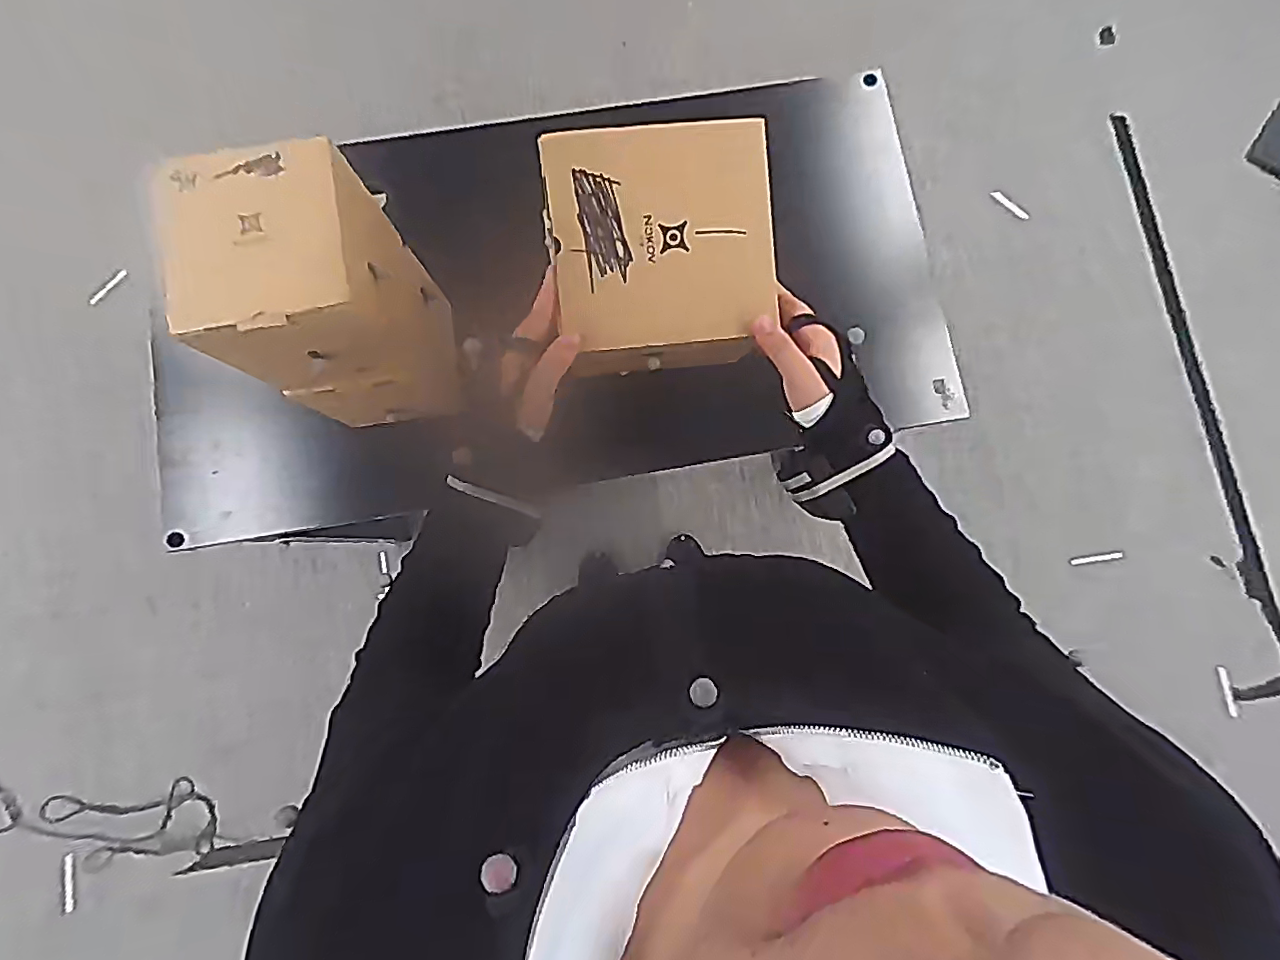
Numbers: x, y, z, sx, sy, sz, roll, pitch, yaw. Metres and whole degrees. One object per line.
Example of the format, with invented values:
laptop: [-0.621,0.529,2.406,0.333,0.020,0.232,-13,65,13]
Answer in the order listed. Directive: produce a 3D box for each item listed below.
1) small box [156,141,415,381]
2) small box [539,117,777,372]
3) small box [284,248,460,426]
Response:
small box: [-0.361,-0.216,0.583,0.168,0.176,0.179,-11,83,-3]
small box: [0.013,-0.197,0.499,0.179,0.176,0.168,-6,95,-3]
small box: [-0.359,-0.186,0.744,0.168,0.176,0.179,-8,83,-2]
